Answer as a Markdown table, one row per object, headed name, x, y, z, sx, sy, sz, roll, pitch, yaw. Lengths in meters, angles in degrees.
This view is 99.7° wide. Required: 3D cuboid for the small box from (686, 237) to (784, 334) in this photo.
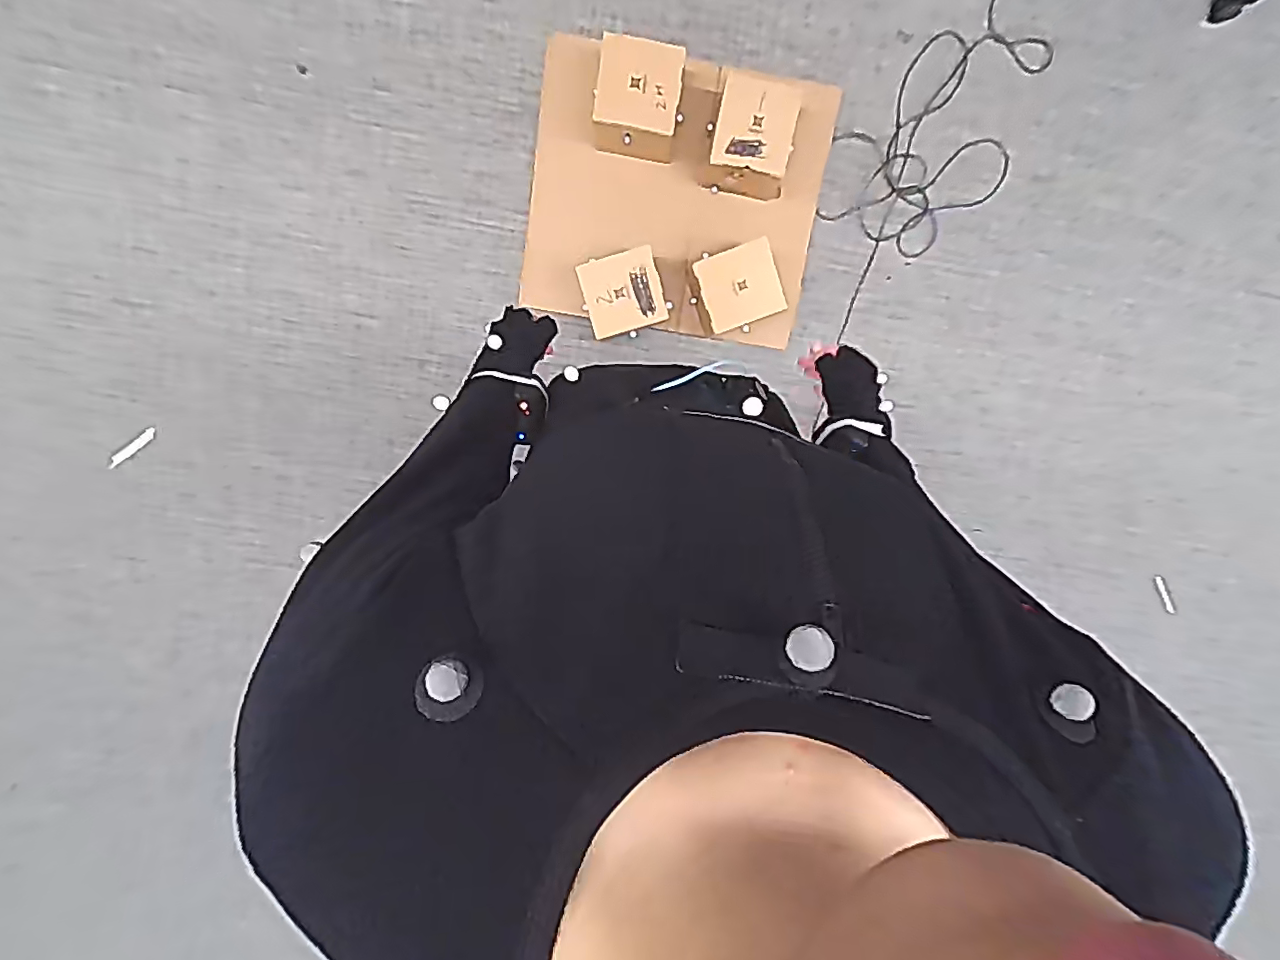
| name | x | y | z | sx | sy | sz | roll | pitch | yaw |
| --- | --- | --- | --- | --- | --- | --- | --- | --- | --- |
| small box | 0.221 | -0.458 | 1.297 | 0.179 | 0.176 | 0.168 | -19 | 101 | 5 |
